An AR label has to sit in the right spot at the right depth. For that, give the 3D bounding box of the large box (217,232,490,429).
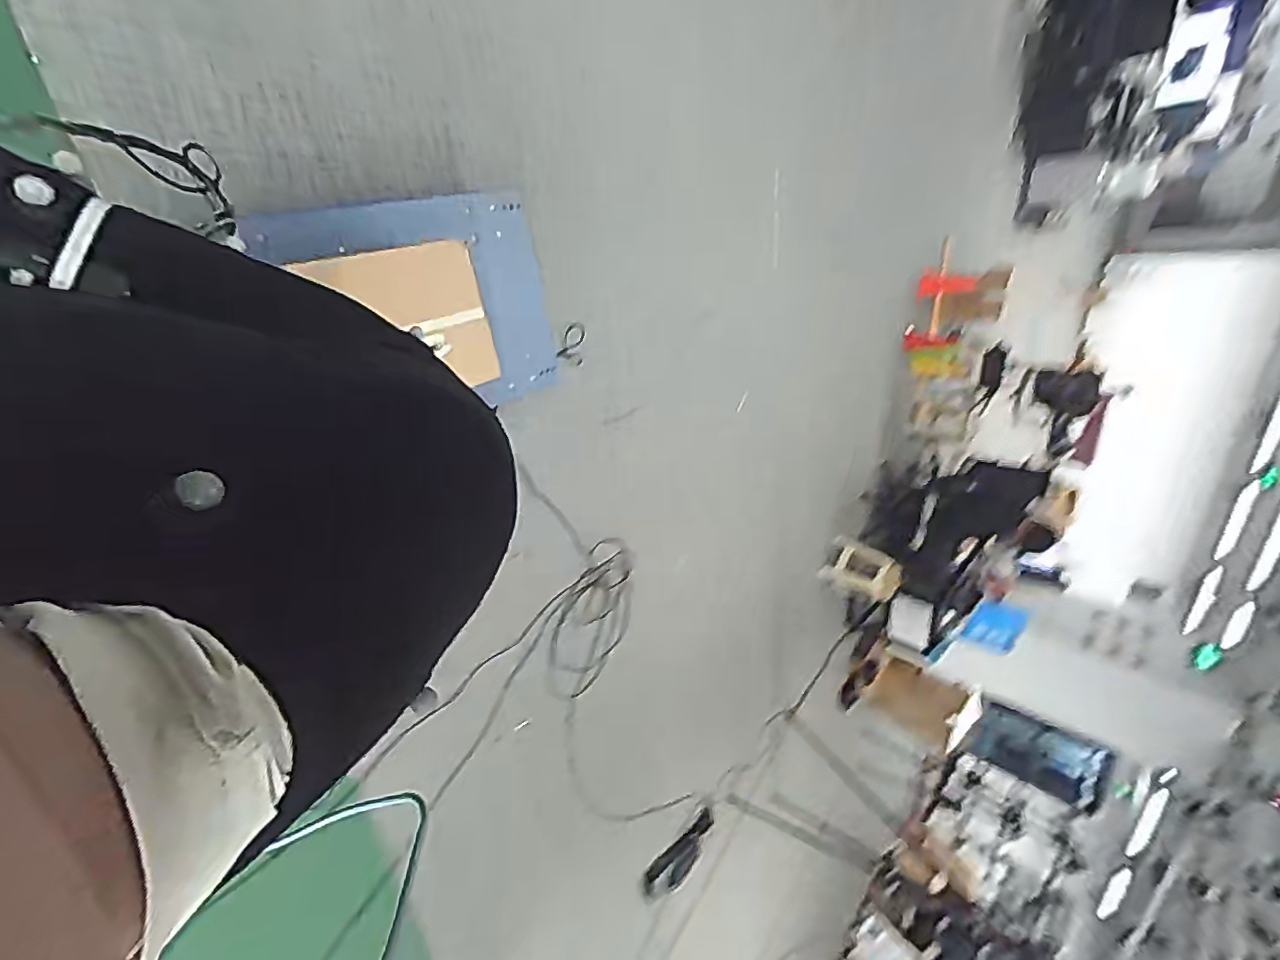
[{"bbox_3d":[-0.623,-0.348,1.212,0.408,0.320,0.320,-32,125,-37],"label":"large box"}]
